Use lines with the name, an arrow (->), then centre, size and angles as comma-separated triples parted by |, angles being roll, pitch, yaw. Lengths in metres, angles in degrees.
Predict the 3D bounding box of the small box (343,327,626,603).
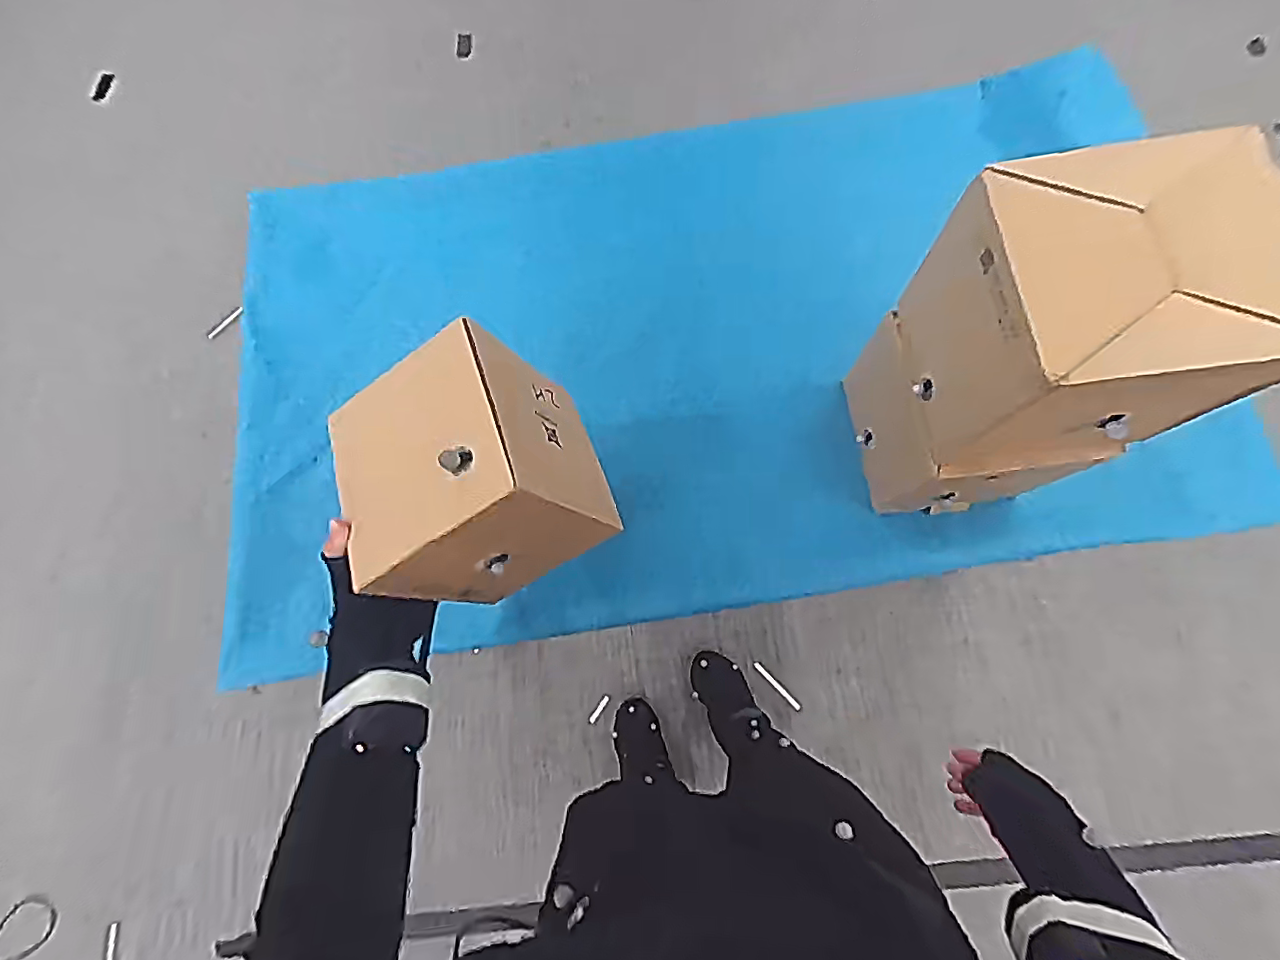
small box -> -0.145, 0.002, 0.507 | 0.176, 0.168, 0.179 | -30, 64, 15

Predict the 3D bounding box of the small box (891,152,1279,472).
small box -> 0.328, -0.116, 0.422 | 0.179, 0.176, 0.168 | -7, 73, 5

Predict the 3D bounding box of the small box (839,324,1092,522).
small box -> 0.335, -0.066, 0.578 | 0.168, 0.176, 0.179 | -8, 74, 2
